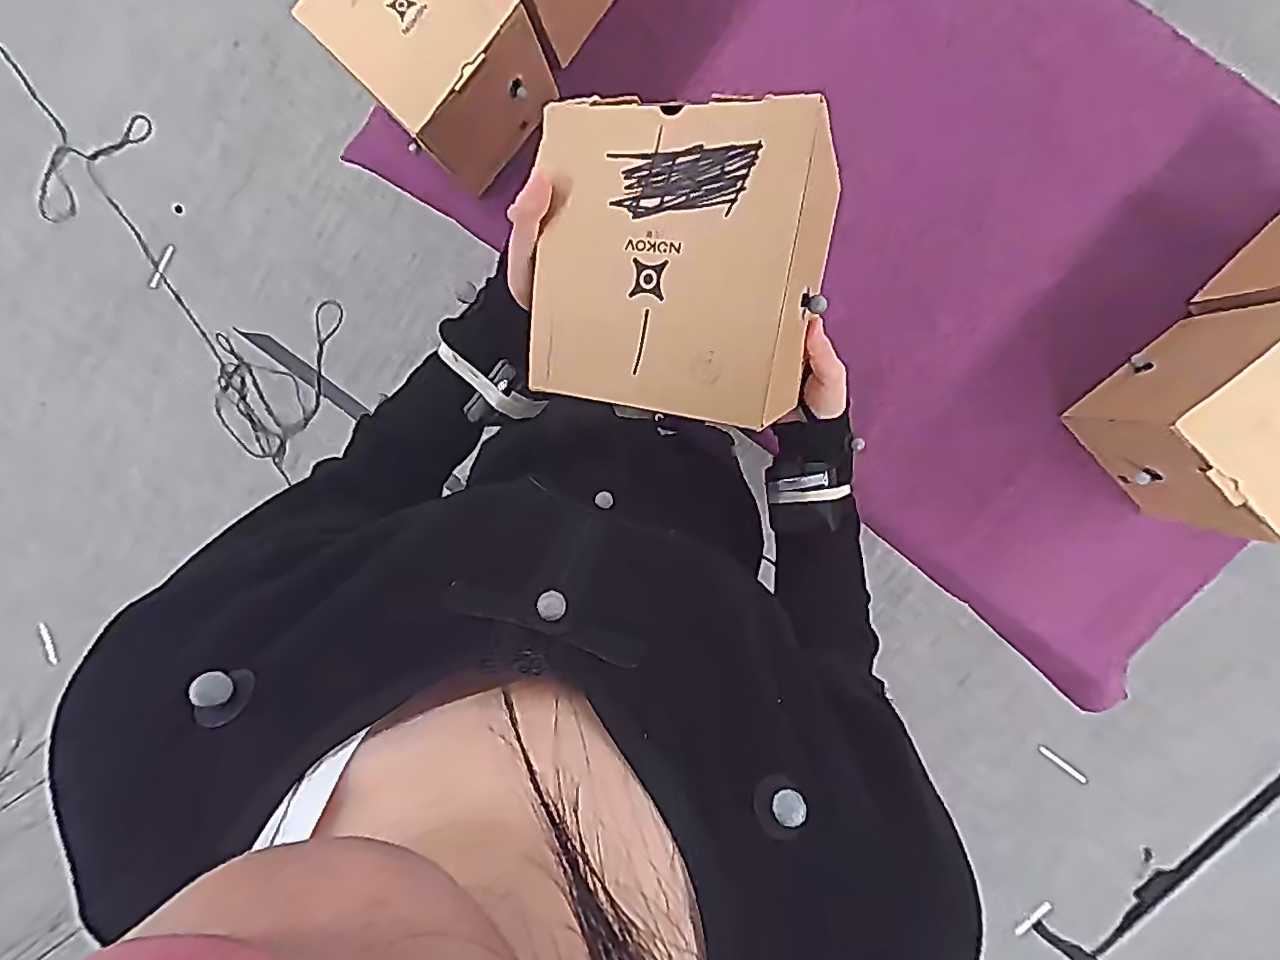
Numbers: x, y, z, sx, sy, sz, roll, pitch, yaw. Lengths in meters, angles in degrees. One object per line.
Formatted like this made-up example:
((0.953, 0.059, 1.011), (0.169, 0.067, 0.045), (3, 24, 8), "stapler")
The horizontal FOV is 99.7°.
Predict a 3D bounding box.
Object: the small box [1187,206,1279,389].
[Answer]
((0.748, -0.208, 0.553), (0.168, 0.176, 0.179), (40, 100, -2), "small box")

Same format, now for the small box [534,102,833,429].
((0.042, -0.145, 0.400), (0.168, 0.176, 0.179), (13, 107, 20), "small box")
